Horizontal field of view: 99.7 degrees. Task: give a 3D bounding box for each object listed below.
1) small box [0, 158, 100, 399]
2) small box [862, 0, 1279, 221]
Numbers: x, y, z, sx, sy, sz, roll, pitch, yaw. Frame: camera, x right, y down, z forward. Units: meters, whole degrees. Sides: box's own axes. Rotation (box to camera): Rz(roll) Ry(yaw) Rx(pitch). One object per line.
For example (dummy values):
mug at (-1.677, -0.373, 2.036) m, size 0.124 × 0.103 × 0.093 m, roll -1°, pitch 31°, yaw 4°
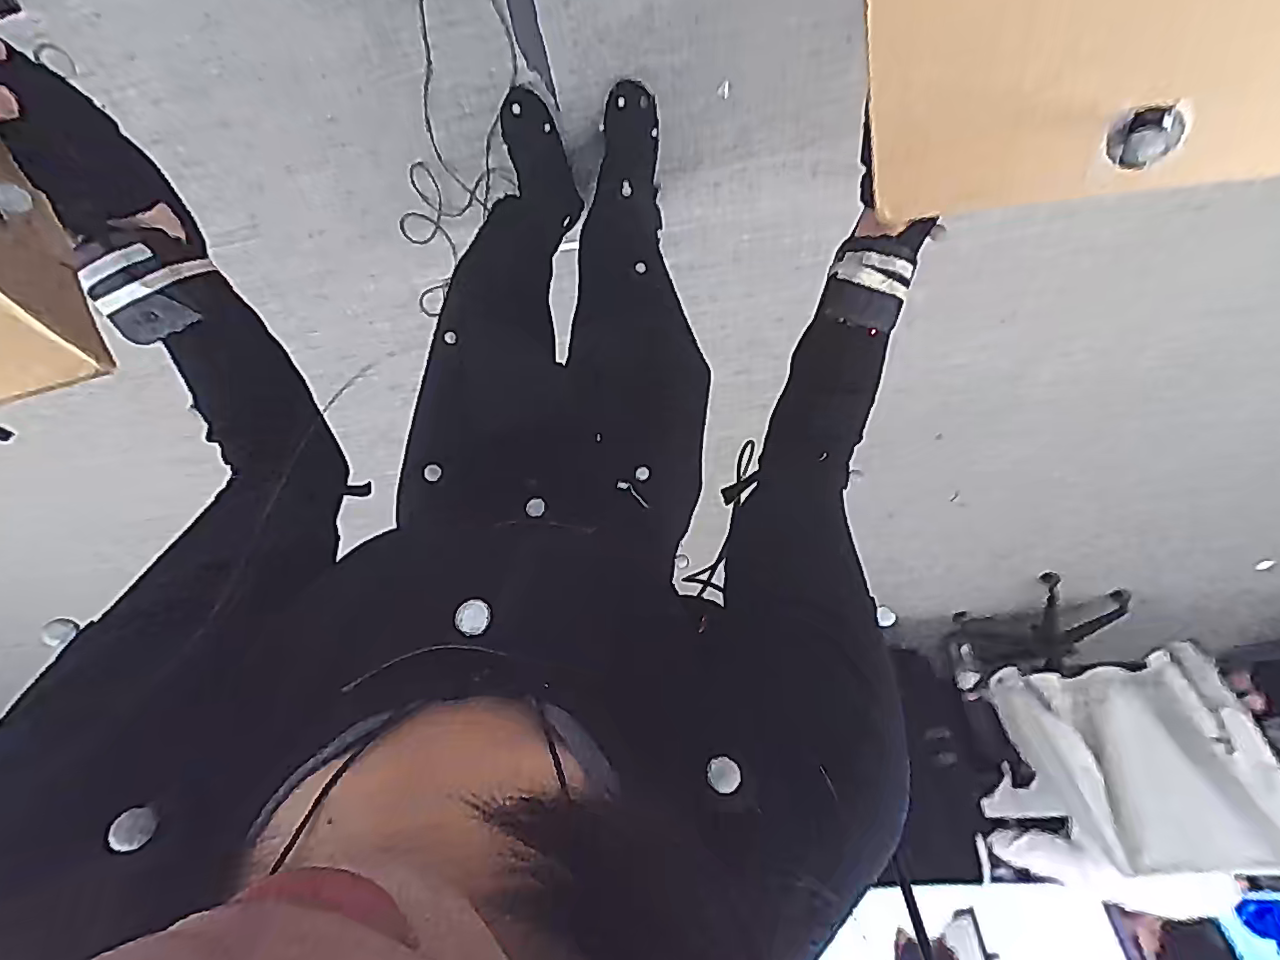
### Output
small box at (-0.353, -0.109, 0.170) m, size 0.179 × 0.168 × 0.176 m, roll -26°, pitch 178°, yaw -25°
small box at (0.192, -0.233, 0.206) m, size 0.168 × 0.179 × 0.176 m, roll 10°, pitch 146°, yaw 35°
